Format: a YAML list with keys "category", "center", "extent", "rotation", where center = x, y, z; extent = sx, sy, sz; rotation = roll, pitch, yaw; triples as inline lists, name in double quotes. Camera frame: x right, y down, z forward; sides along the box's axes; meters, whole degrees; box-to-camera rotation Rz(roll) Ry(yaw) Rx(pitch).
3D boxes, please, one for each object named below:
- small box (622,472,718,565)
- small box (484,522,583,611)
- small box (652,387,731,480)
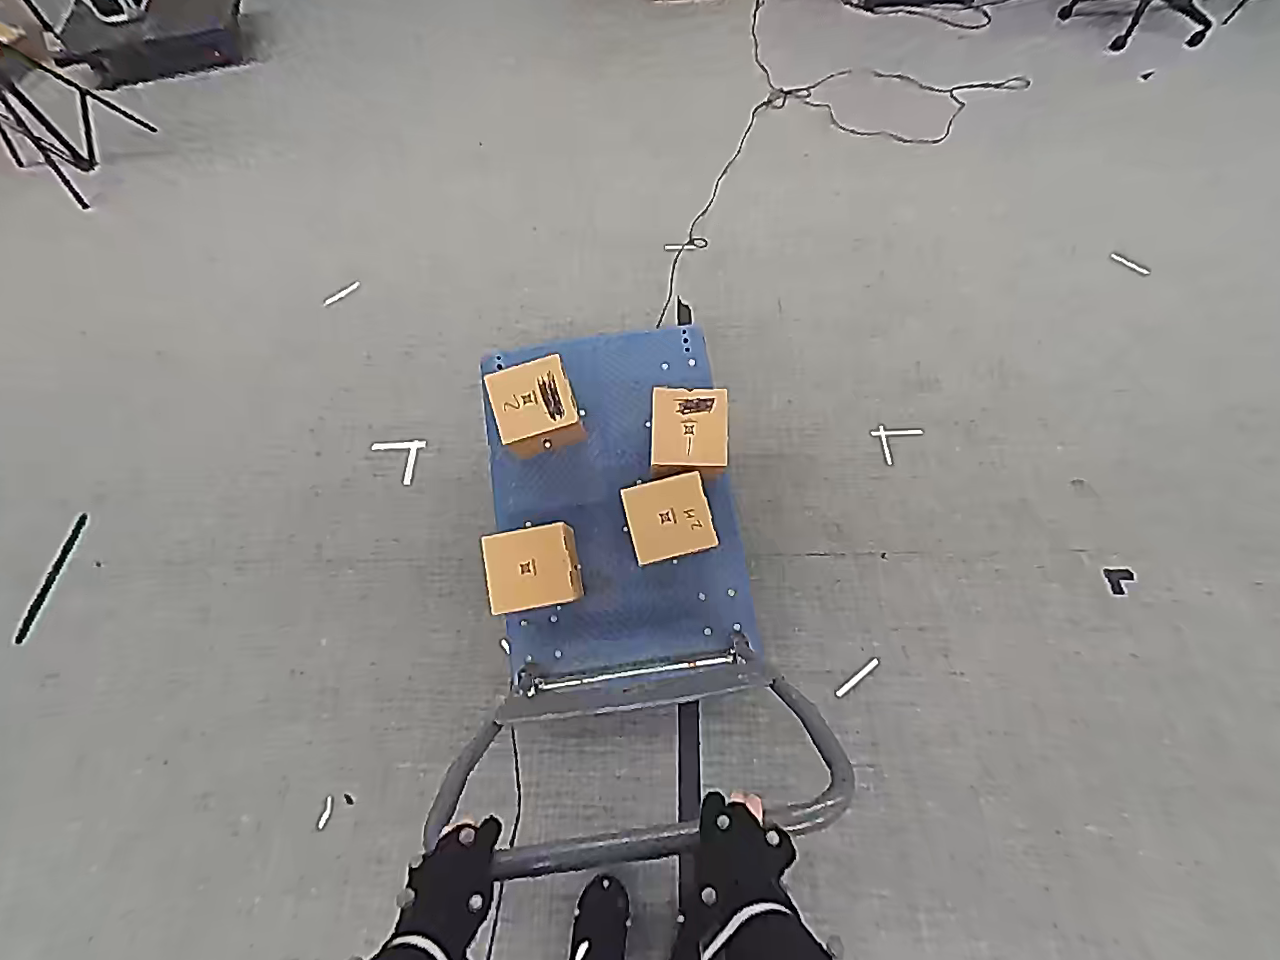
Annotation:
- category: "small box"
  center: [0.065, 0.093, 1.215]
  extent: [0.179, 0.176, 0.168]
  rotation: [-13, 81, -1]
- category: "small box"
  center: [-0.231, 0.195, 1.203]
  extent: [0.179, 0.176, 0.168]
  rotation: [-10, 80, -3]
- category: "small box"
  center: [0.114, -0.101, 1.248]
  extent: [0.168, 0.176, 0.179]
  rotation: [2, 81, 2]
